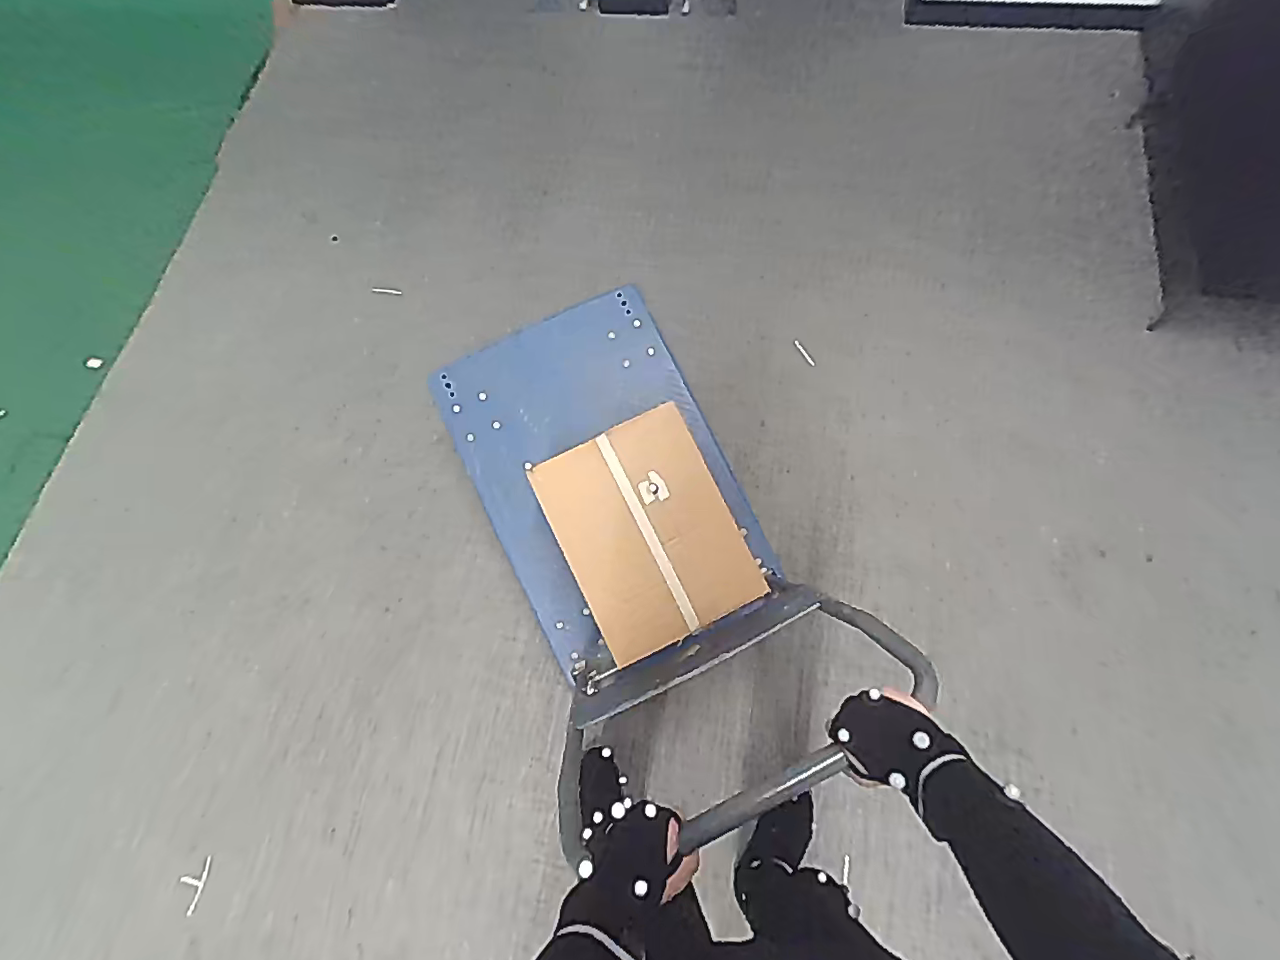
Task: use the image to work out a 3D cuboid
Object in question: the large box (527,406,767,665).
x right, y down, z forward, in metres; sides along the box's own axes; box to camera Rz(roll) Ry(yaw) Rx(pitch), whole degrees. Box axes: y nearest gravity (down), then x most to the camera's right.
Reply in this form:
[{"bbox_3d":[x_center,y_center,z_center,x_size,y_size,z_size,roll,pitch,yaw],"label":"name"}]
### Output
[{"bbox_3d":[0.011,0.116,1.157,0.320,0.320,0.408,-27,84,-5],"label":"large box"}]
